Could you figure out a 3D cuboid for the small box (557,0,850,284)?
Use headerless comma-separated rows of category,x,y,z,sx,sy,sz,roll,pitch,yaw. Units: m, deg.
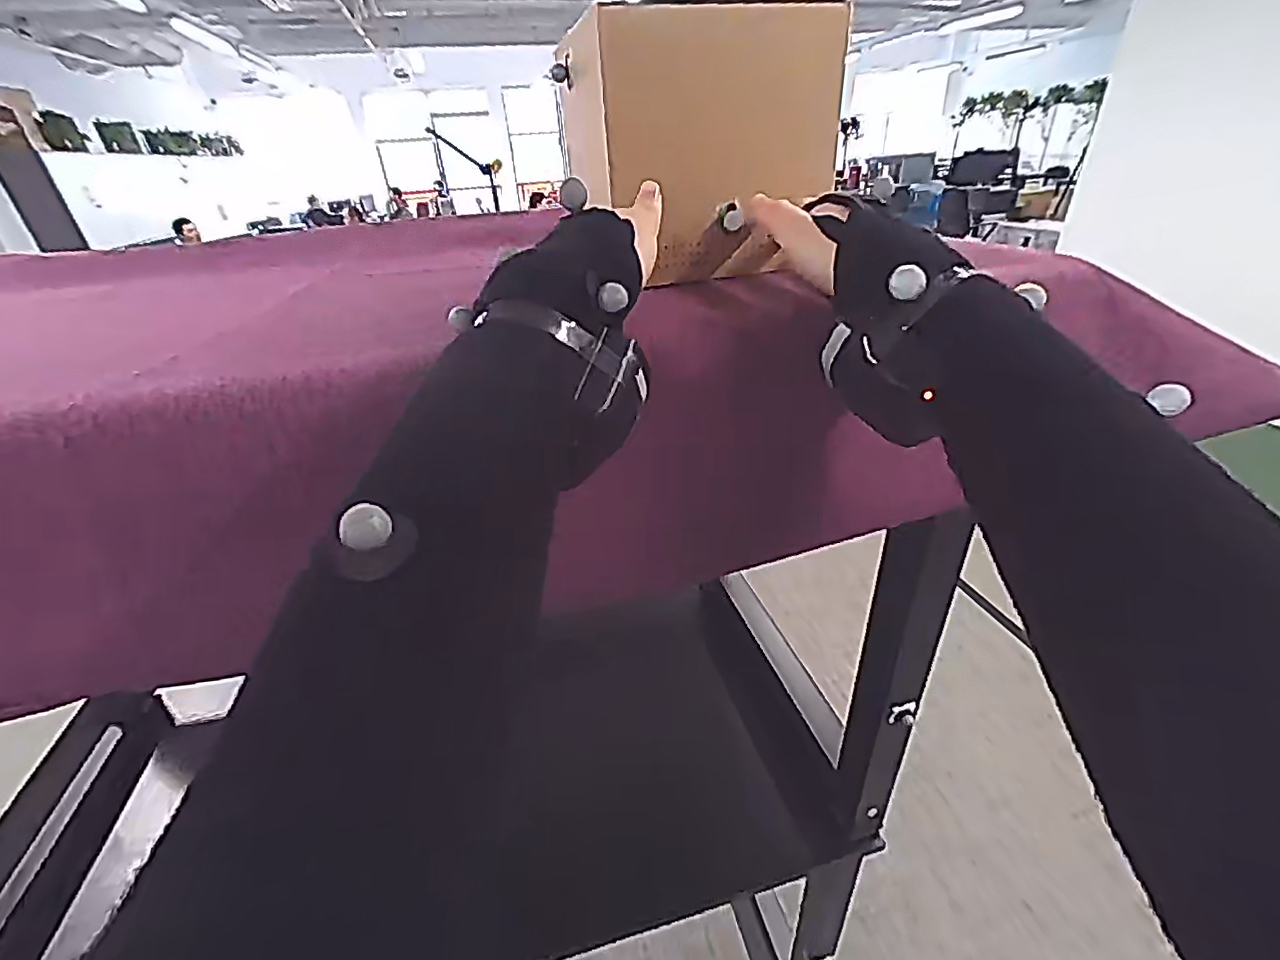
small box,0.038,-0.266,0.440,0.179,0.176,0.168,-11,30,-12
